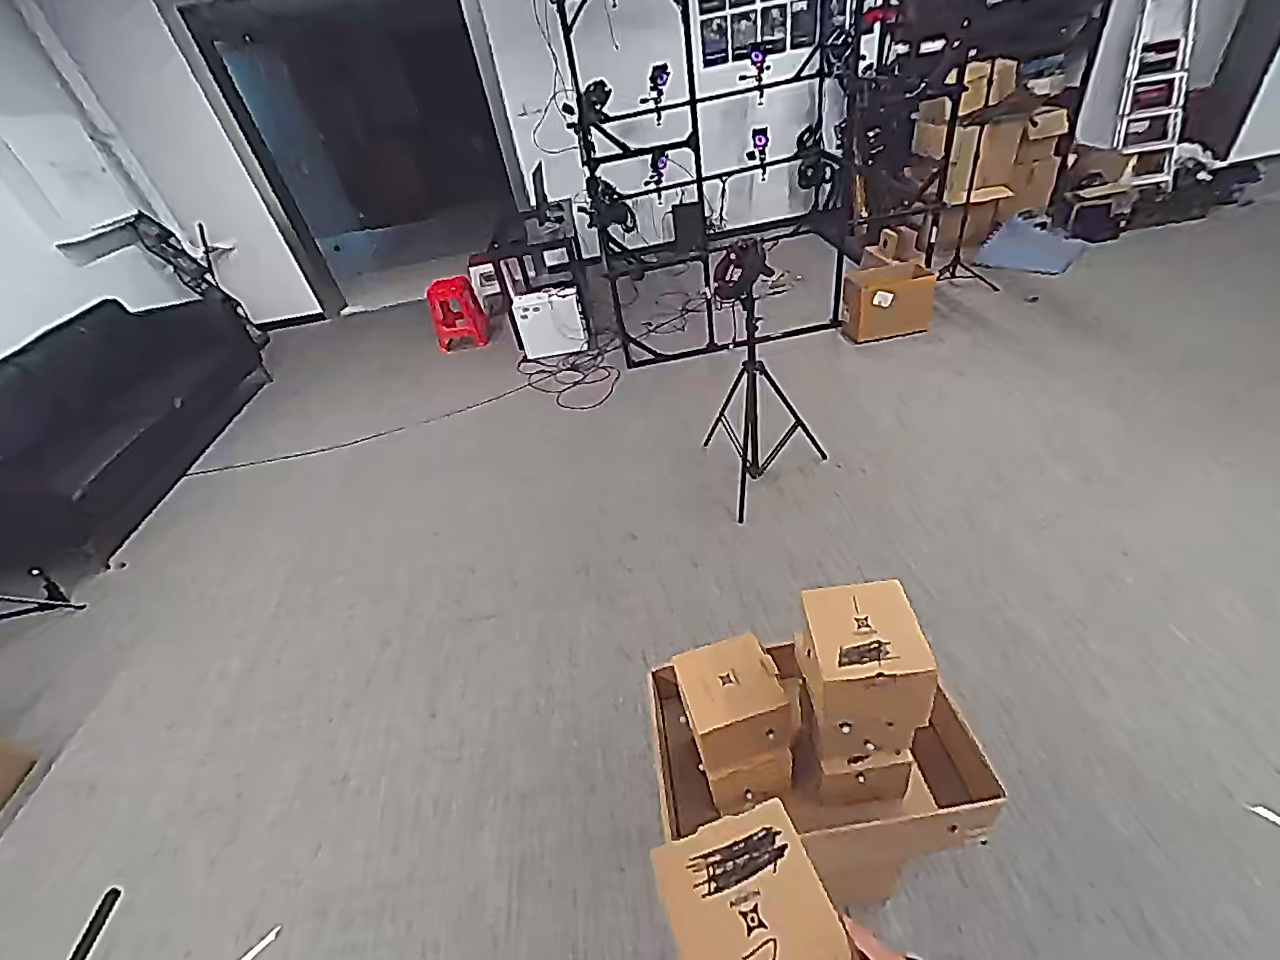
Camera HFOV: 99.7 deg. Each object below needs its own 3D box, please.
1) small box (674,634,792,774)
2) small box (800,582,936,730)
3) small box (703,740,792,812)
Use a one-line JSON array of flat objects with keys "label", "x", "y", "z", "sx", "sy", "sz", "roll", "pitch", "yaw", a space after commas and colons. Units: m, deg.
[{"label": "small box", "x": 0.177, "y": 0.435, "z": 1.053, "sx": 0.179, "sy": 0.176, "sz": 0.168, "roll": -16, "pitch": 38, "yaw": -6}, {"label": "small box", "x": 0.371, "y": 0.298, "z": 0.903, "sx": 0.168, "sy": 0.176, "sz": 0.179, "roll": -9, "pitch": 38, "yaw": 9}, {"label": "small box", "x": 0.208, "y": 0.564, "z": 1.150, "sx": 0.168, "sy": 0.176, "sz": 0.179, "roll": -16, "pitch": 39, "yaw": -5}]
